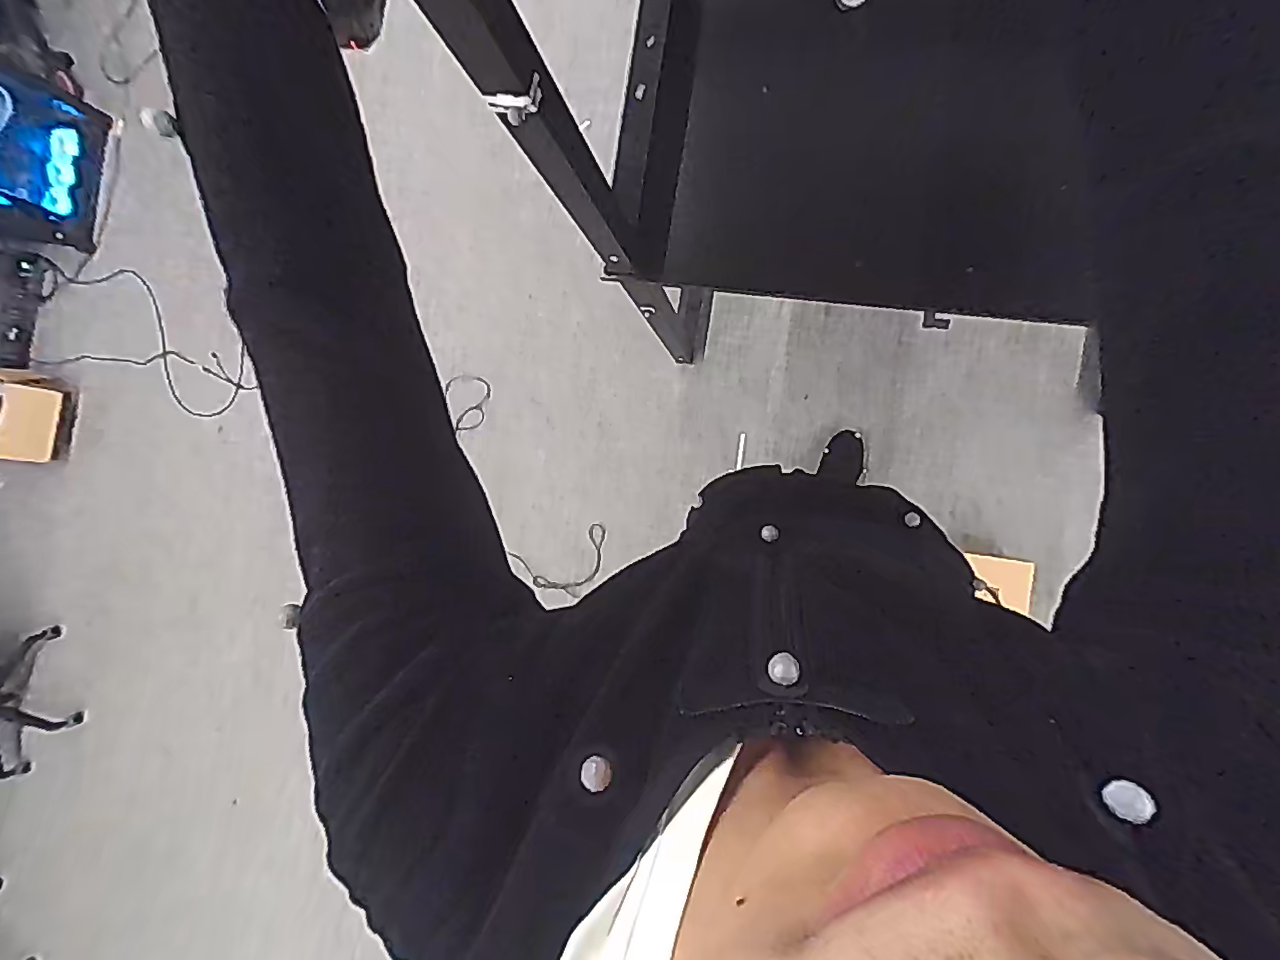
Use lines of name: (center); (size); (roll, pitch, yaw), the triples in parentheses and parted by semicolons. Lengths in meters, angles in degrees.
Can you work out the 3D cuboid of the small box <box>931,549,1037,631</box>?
small box: (0.879, 0.276, 1.397); (0.179, 0.176, 0.168); (8, 90, 14)
